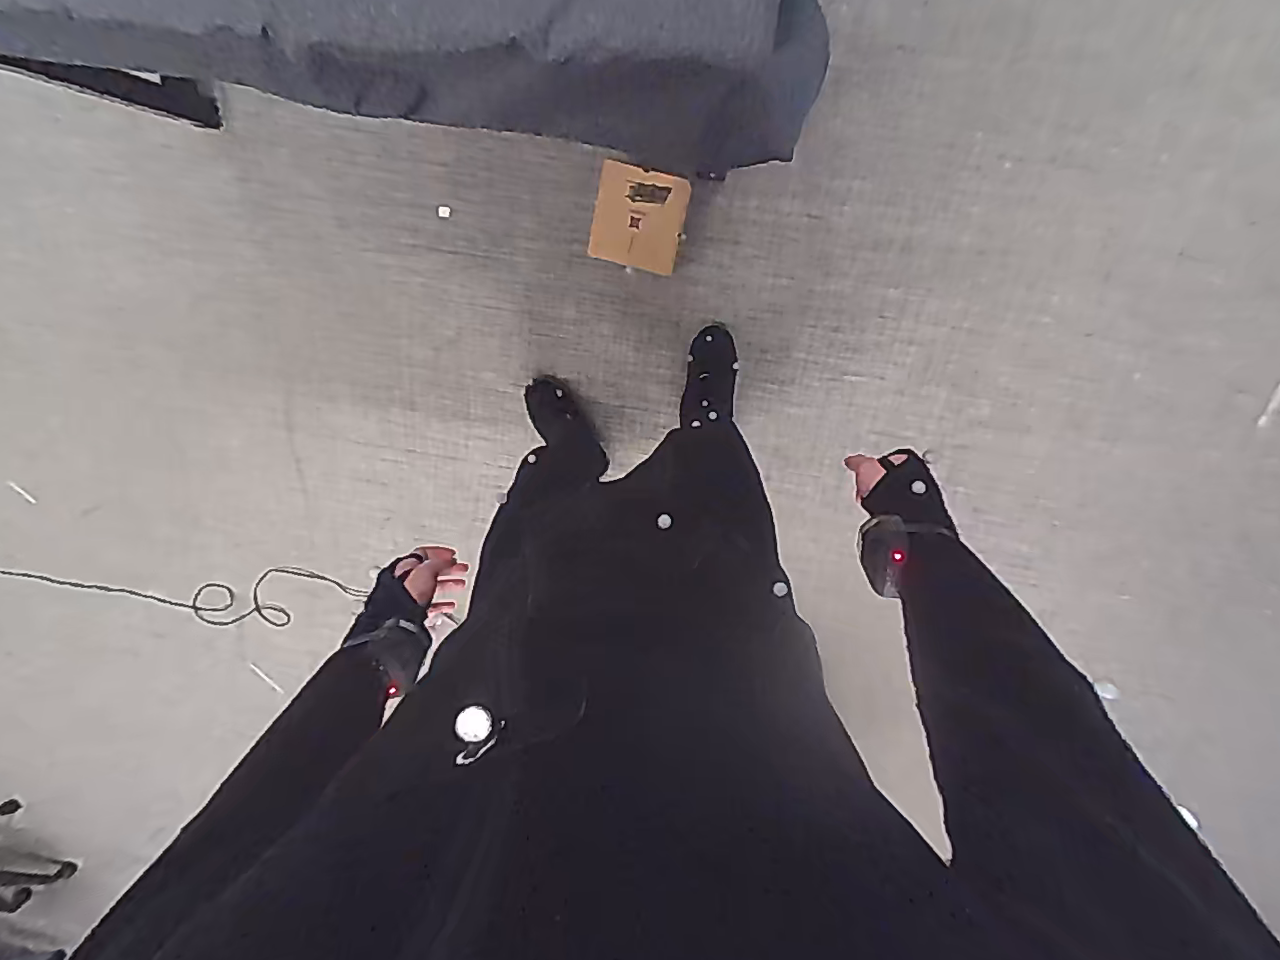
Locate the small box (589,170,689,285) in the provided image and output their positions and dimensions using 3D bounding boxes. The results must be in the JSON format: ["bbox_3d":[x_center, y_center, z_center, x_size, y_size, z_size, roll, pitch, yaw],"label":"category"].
[{"bbox_3d":[0.003,-0.514,1.118,0.168,0.176,0.179,14,112,2],"label":"small box"}]
